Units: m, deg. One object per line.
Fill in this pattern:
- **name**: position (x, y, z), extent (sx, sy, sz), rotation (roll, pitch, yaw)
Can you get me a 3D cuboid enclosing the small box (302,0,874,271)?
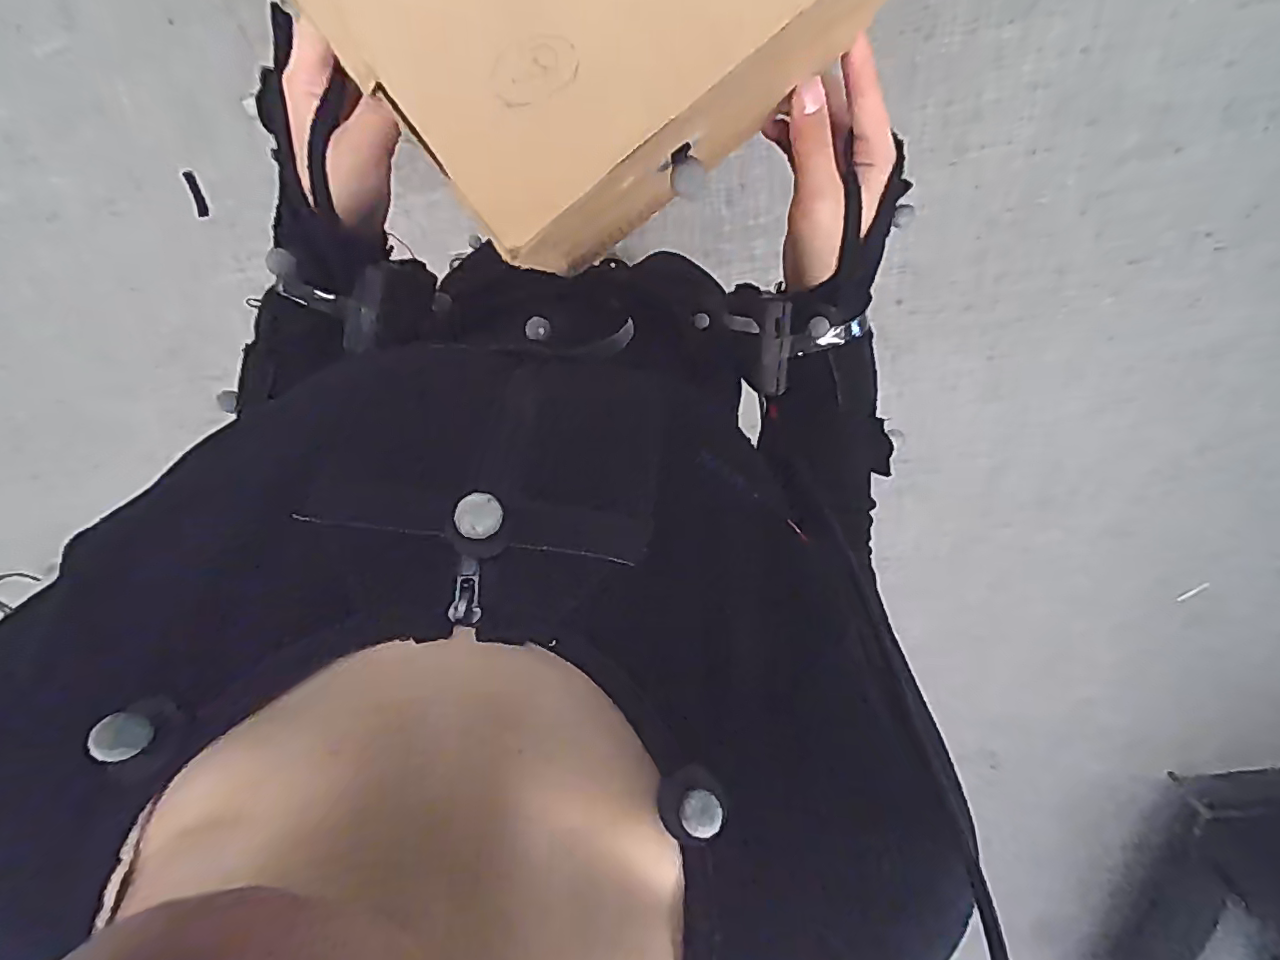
- **small box**: position (-0.020, -0.203, 0.214), extent (0.179, 0.176, 0.168), rotation (-34, 105, 11)
